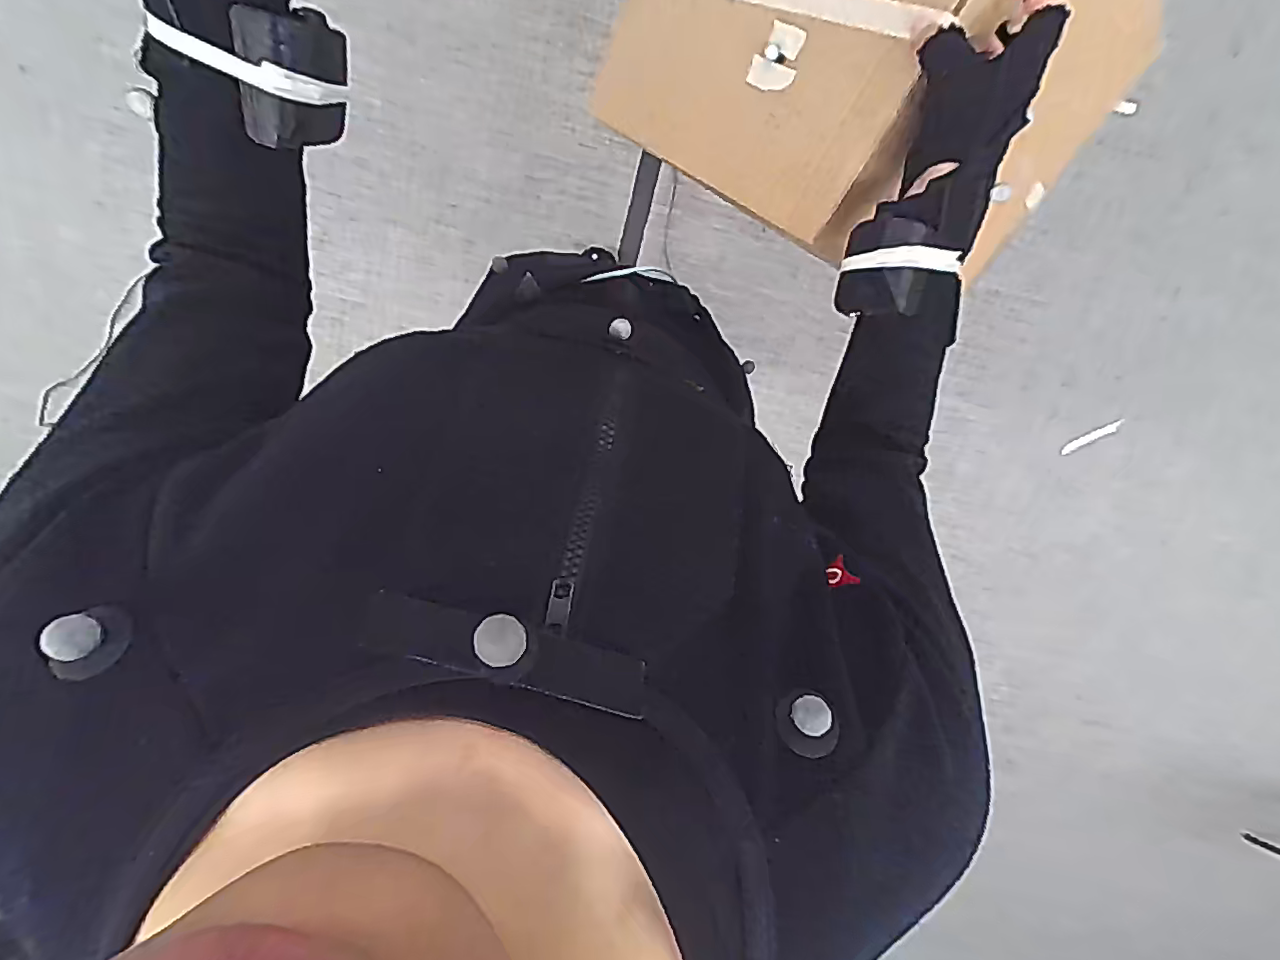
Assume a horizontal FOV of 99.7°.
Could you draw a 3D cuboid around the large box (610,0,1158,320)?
[{"bbox_3d":[0.238,-0.442,0.609,0.320,0.408,0.320,3,130,-43],"label":"large box"}]
